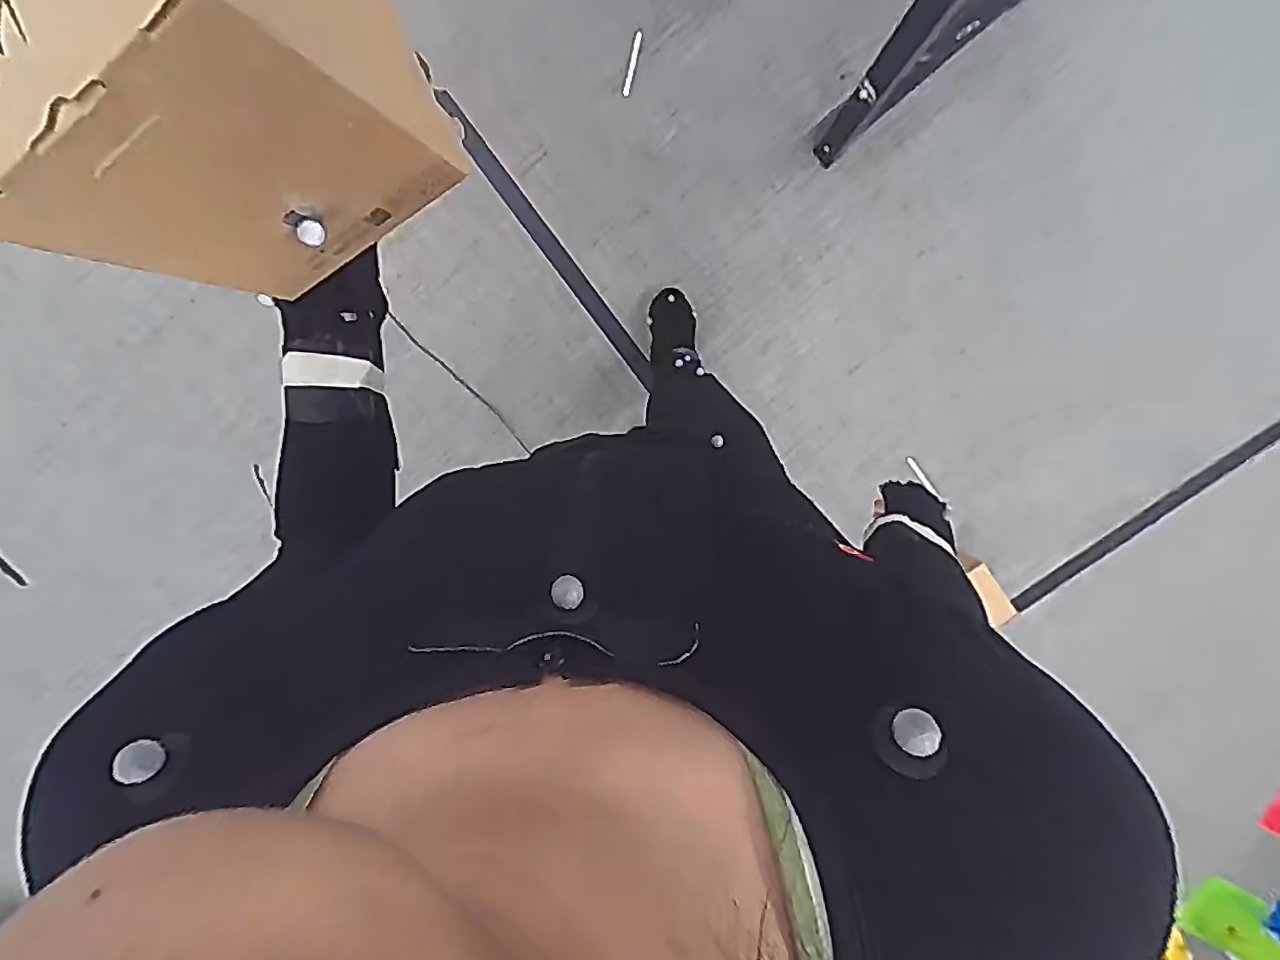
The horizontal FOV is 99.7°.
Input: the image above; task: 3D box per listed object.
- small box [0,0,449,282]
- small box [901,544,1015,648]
[{"bbox_3d":[-0.238,-0.229,0.284,0.168,0.176,0.179,-20,95,18],"label":"small box"},{"bbox_3d":[0.811,0.294,1.406,0.179,0.176,0.168,-35,98,8],"label":"small box"}]
